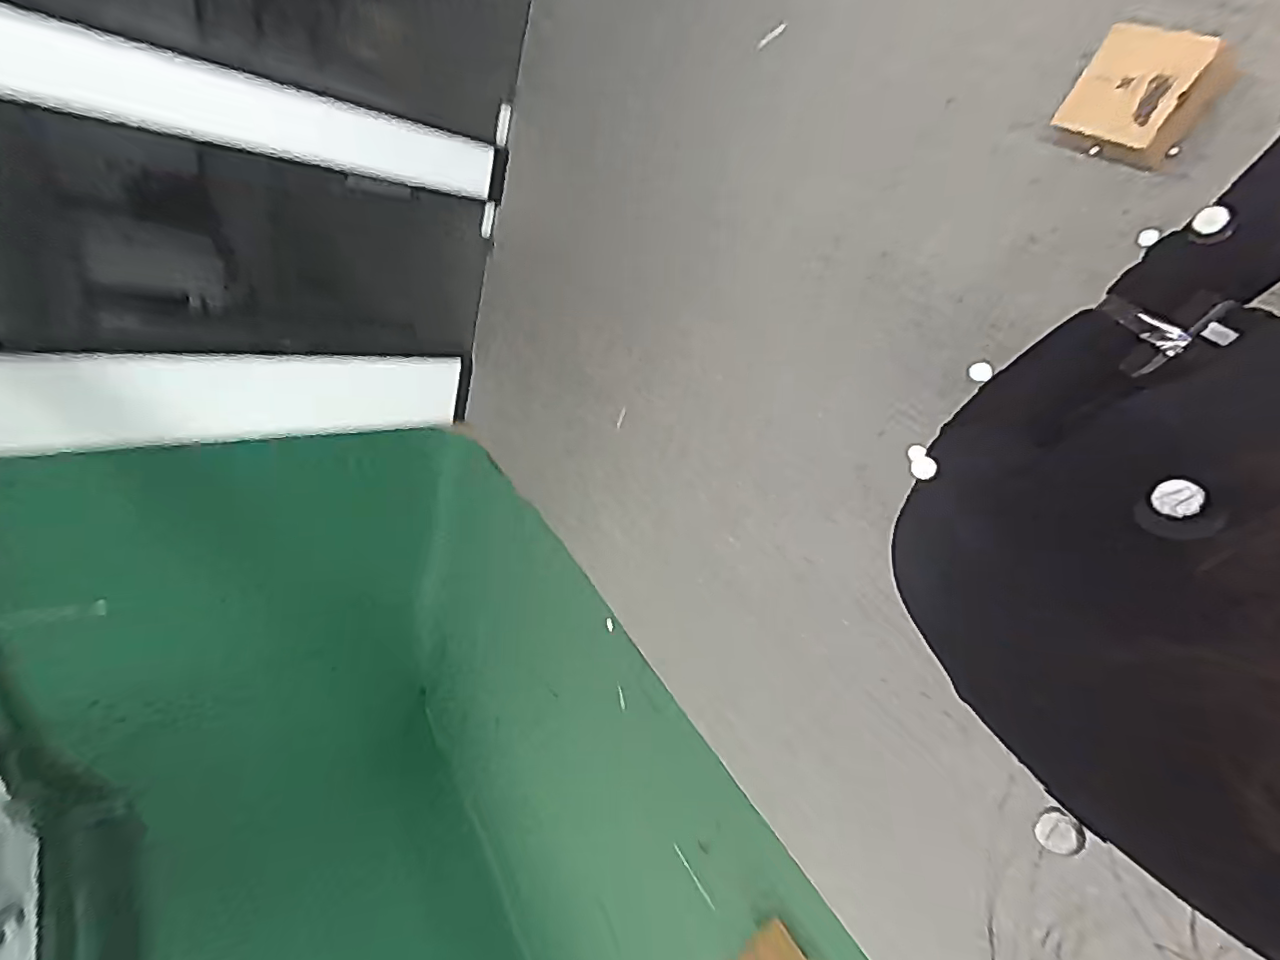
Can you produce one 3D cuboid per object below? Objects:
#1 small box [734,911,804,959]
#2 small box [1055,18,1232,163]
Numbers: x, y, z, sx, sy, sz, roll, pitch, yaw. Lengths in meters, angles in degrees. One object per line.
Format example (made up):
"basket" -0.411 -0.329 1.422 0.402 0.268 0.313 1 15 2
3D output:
"small box" 0.500 1.802 2.068 0.168 0.176 0.179 47 131 31
"small box" 0.944 -0.720 1.014 0.179 0.176 0.168 49 131 33
